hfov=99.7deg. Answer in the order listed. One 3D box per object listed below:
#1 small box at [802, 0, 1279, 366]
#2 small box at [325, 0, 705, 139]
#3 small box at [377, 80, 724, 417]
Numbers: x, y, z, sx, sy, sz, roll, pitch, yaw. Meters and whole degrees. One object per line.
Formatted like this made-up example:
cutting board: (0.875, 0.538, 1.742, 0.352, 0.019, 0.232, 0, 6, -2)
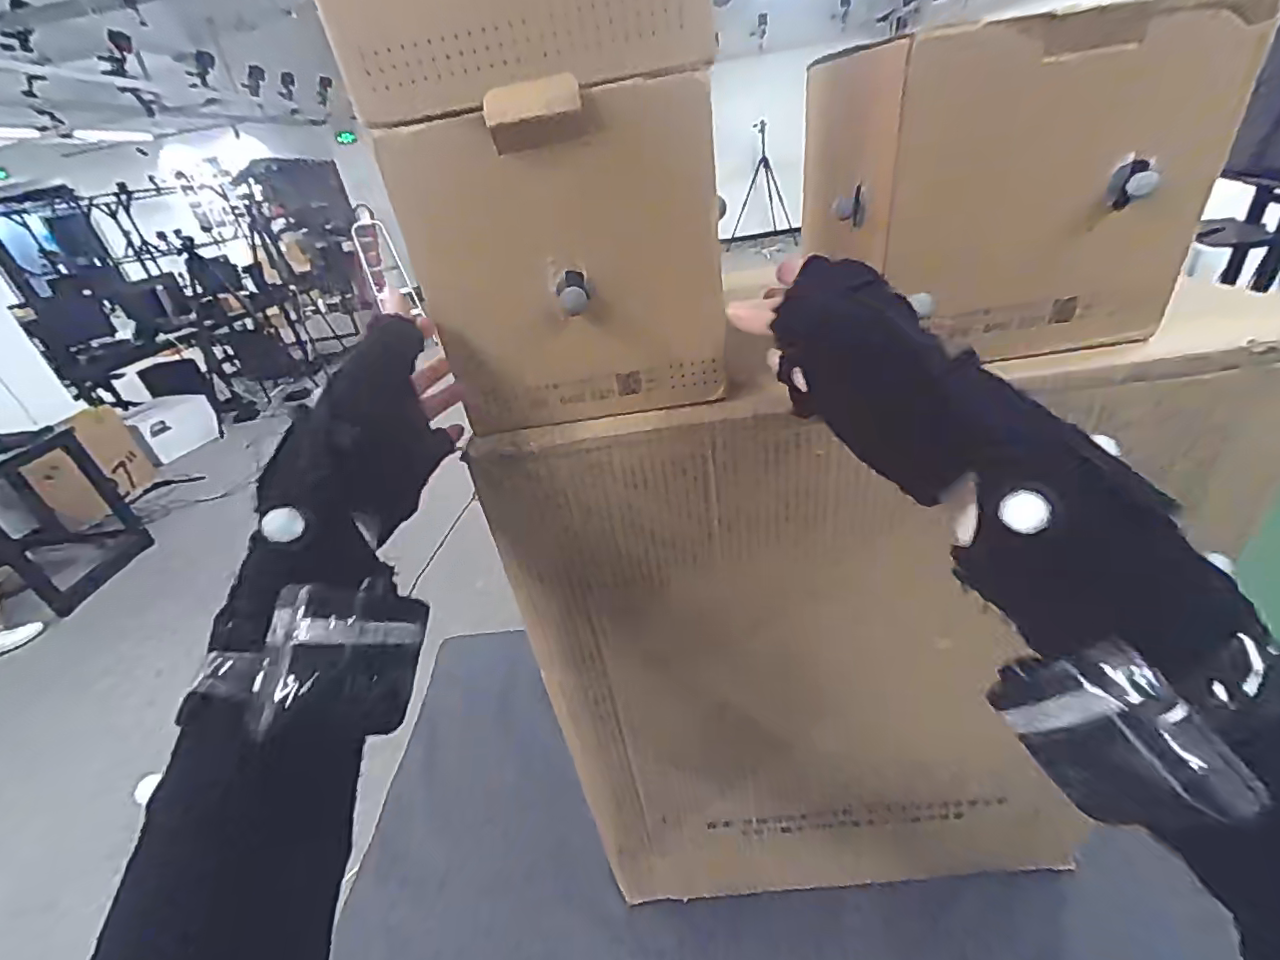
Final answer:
small box: (0.209, -0.179, 0.351, 0.168, 0.176, 0.179, -5, 32, 3)
small box: (-0.060, -0.292, 0.284, 0.179, 0.176, 0.168, -7, 33, 5)
small box: (-0.037, -0.152, 0.369, 0.168, 0.176, 0.179, -6, 34, 5)
